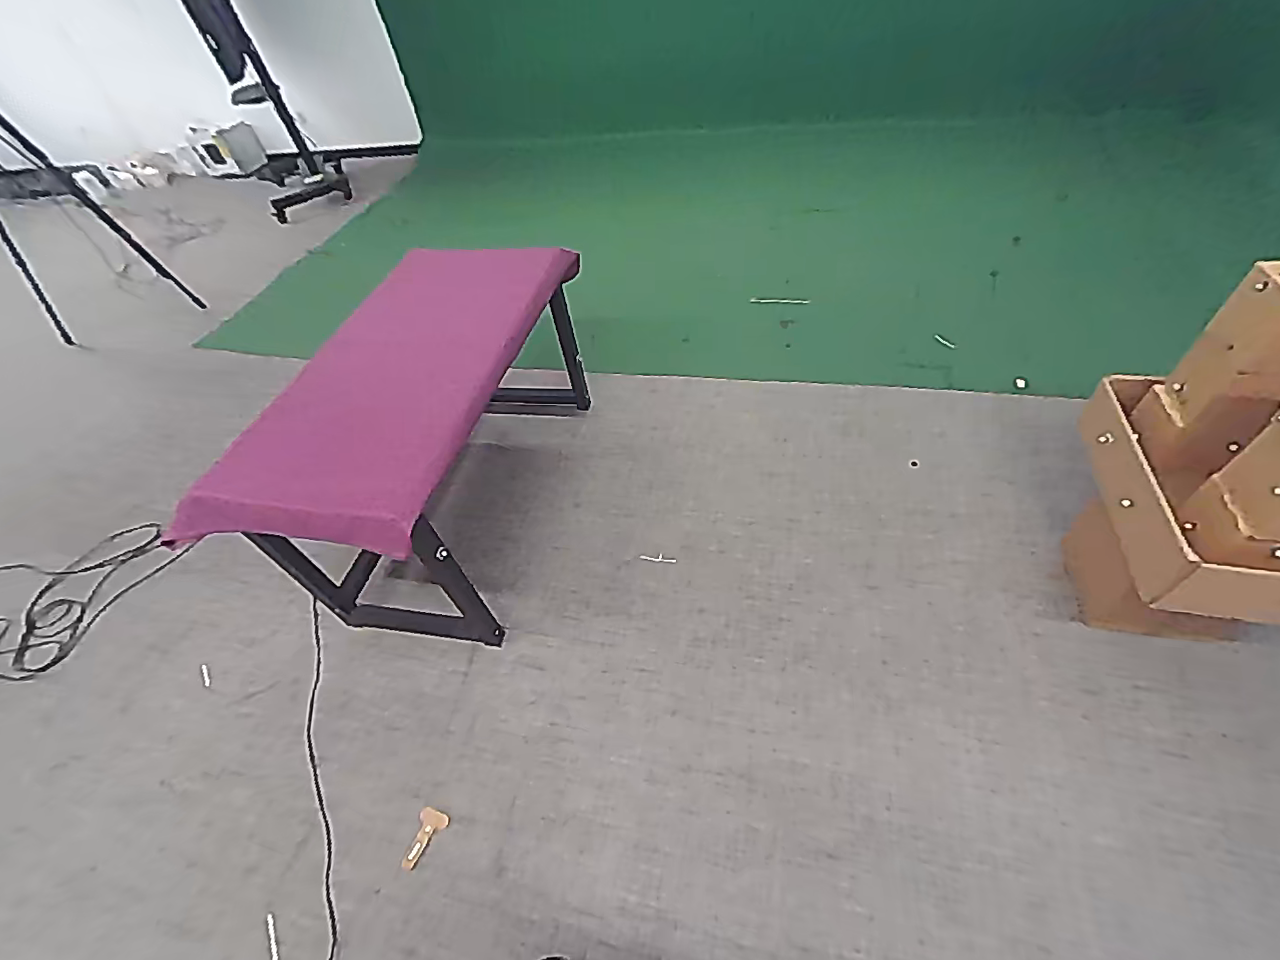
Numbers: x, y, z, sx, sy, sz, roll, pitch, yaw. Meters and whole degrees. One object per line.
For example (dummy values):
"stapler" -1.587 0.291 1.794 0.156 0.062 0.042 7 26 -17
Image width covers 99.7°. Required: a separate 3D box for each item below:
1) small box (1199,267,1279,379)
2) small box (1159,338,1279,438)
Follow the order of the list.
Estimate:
"small box" 1.359 -0.325 1.133 0.179 0.176 0.168 6 49 12
"small box" 1.378 -0.217 1.255 0.179 0.176 0.168 8 50 15
